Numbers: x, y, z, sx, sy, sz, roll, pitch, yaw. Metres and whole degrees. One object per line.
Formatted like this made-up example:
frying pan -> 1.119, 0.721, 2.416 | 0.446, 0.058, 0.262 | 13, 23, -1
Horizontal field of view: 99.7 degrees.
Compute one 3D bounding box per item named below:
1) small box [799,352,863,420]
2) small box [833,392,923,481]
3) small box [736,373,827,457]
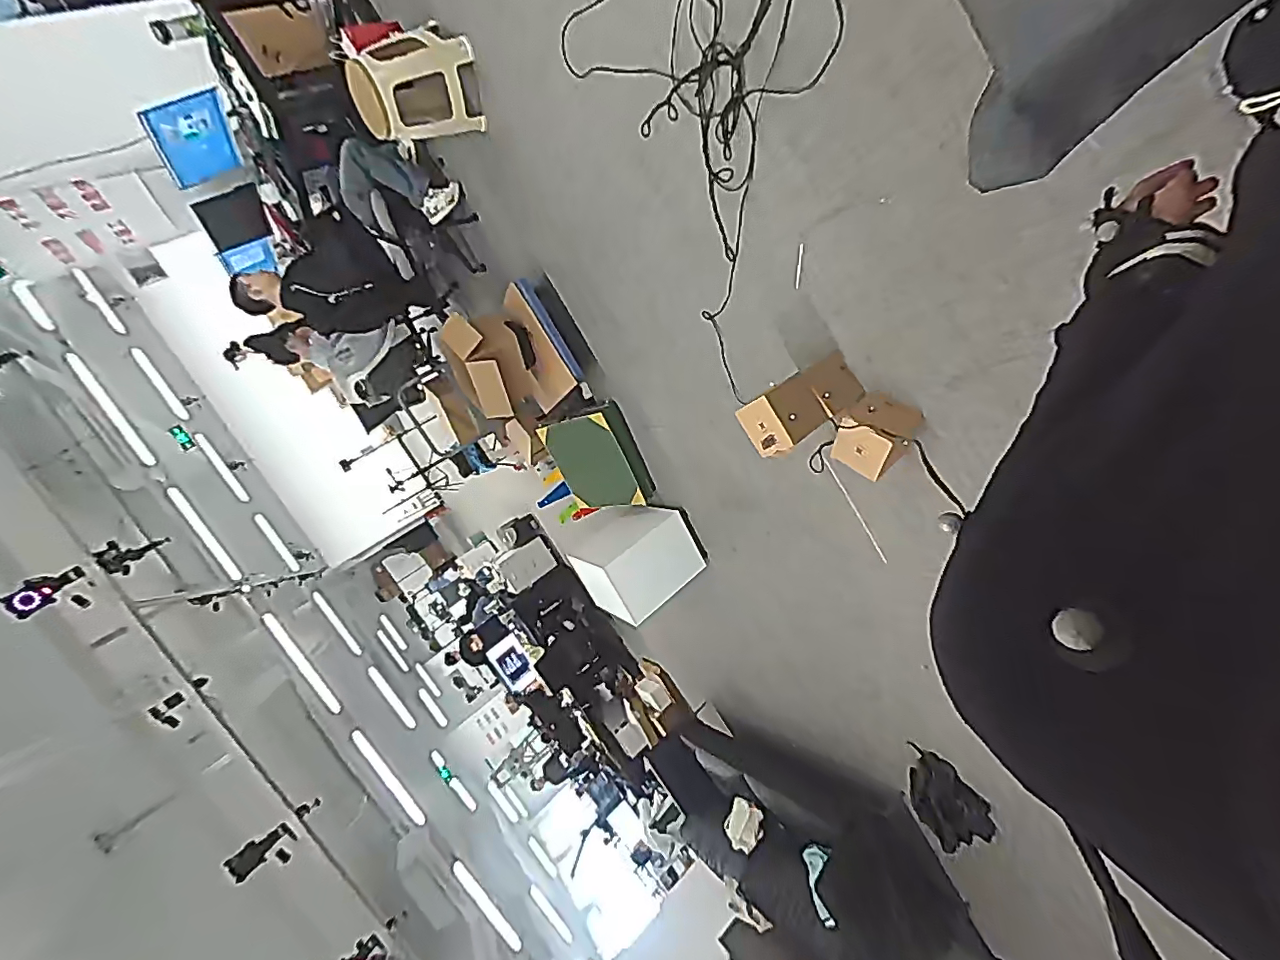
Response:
small box -> 0.572, -0.278, 1.732 | 0.168, 0.176, 0.179 | 56, 156, 2
small box -> 0.724, -0.136, 1.644 | 0.168, 0.176, 0.179 | 40, 153, 30
small box -> 0.440, -0.201, 1.668 | 0.179, 0.176, 0.168 | 57, 155, -3
